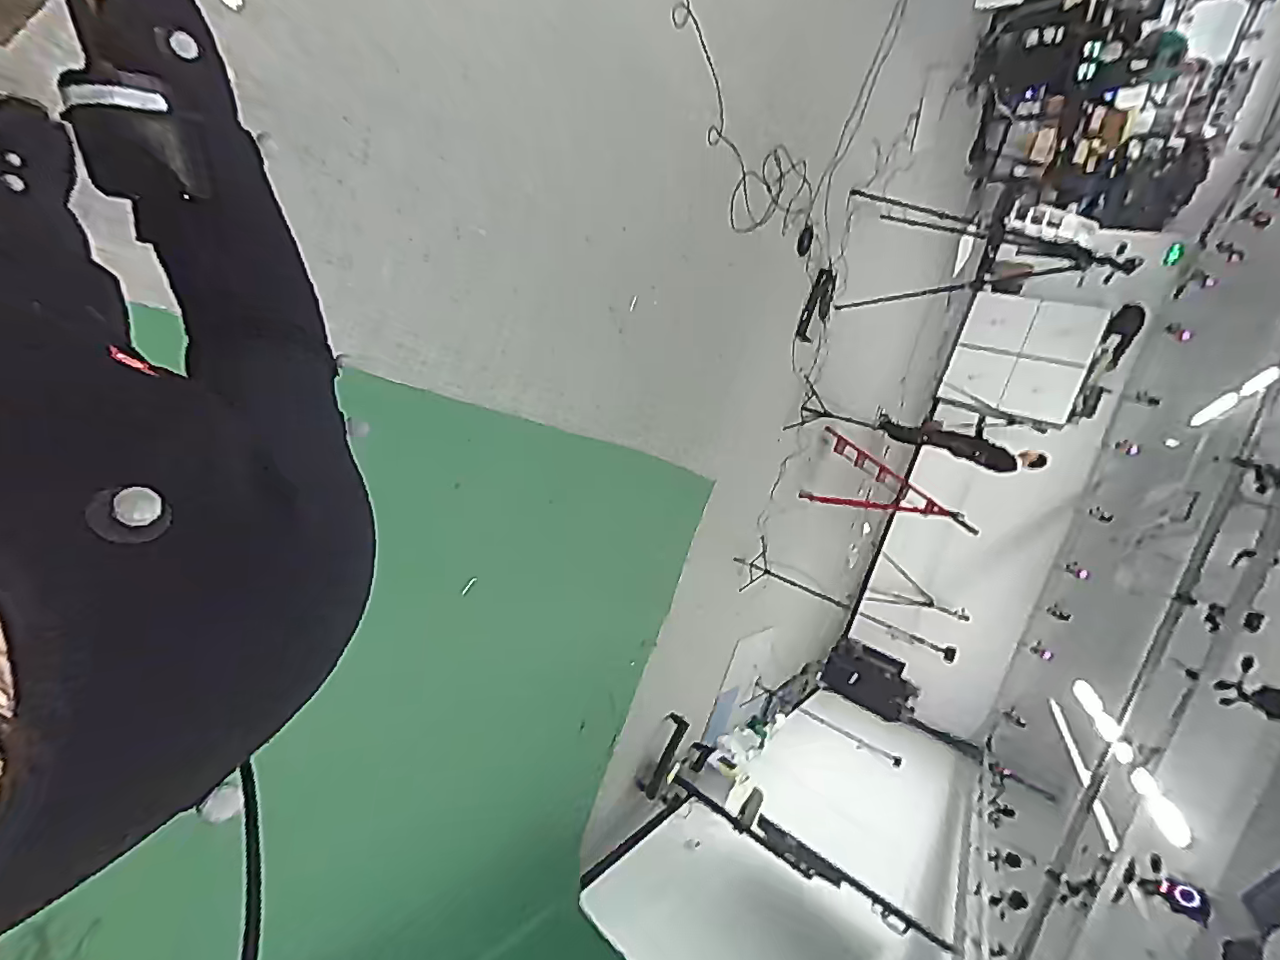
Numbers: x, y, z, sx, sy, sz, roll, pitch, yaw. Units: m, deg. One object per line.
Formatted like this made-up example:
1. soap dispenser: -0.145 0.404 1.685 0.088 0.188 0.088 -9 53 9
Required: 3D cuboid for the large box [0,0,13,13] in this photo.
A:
1. large box: -0.557 -0.427 0.183 0.408 0.320 0.320 -23 129 -47
